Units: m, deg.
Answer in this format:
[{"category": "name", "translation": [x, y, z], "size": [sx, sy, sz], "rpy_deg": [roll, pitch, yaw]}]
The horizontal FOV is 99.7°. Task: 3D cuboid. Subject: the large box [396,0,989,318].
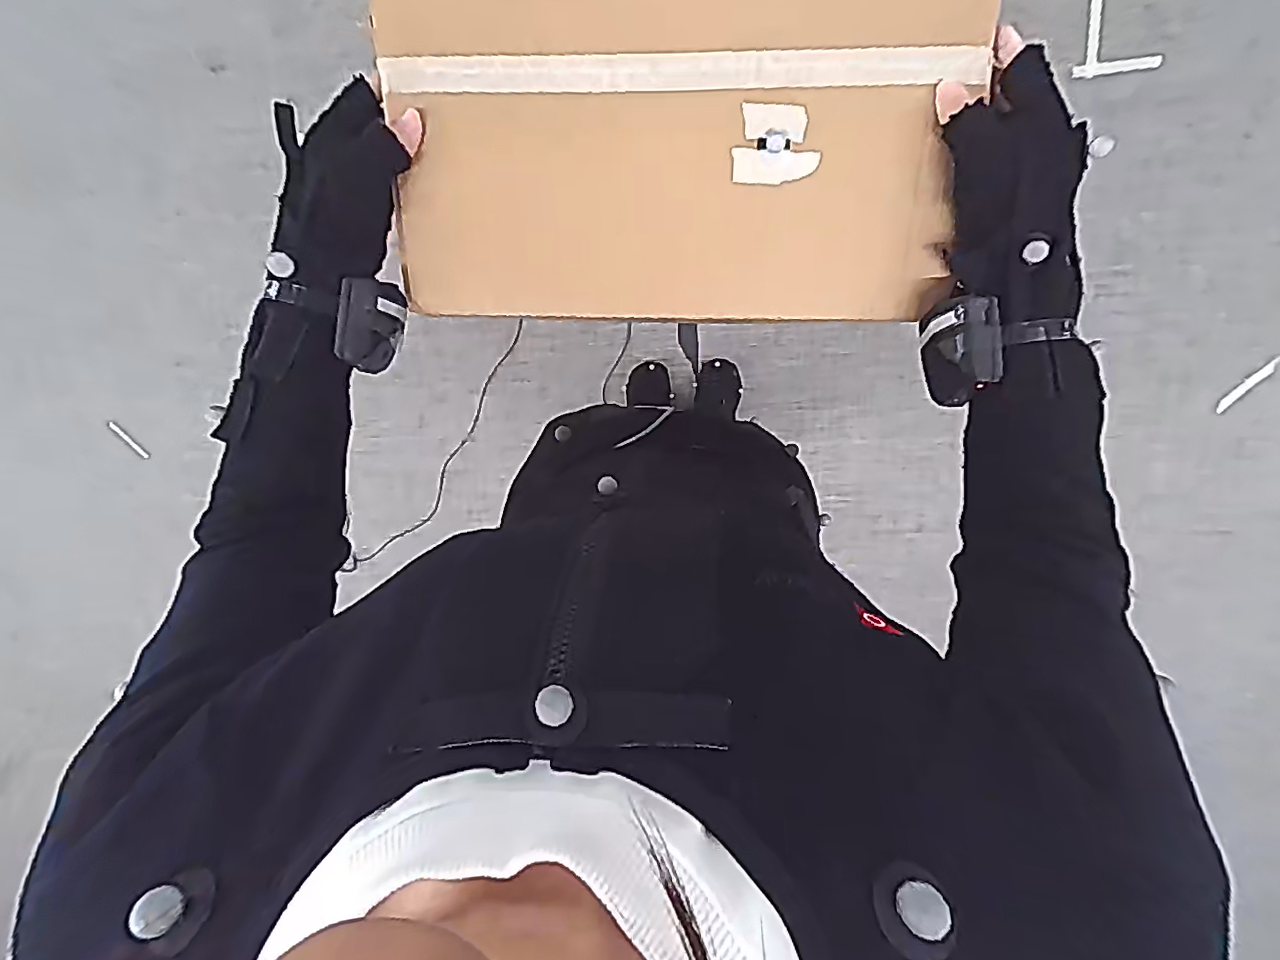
[{"category": "large box", "translation": [0.036, -0.320, 0.516], "size": [0.408, 0.320, 0.320], "rpy_deg": [1, 107, 3]}]
